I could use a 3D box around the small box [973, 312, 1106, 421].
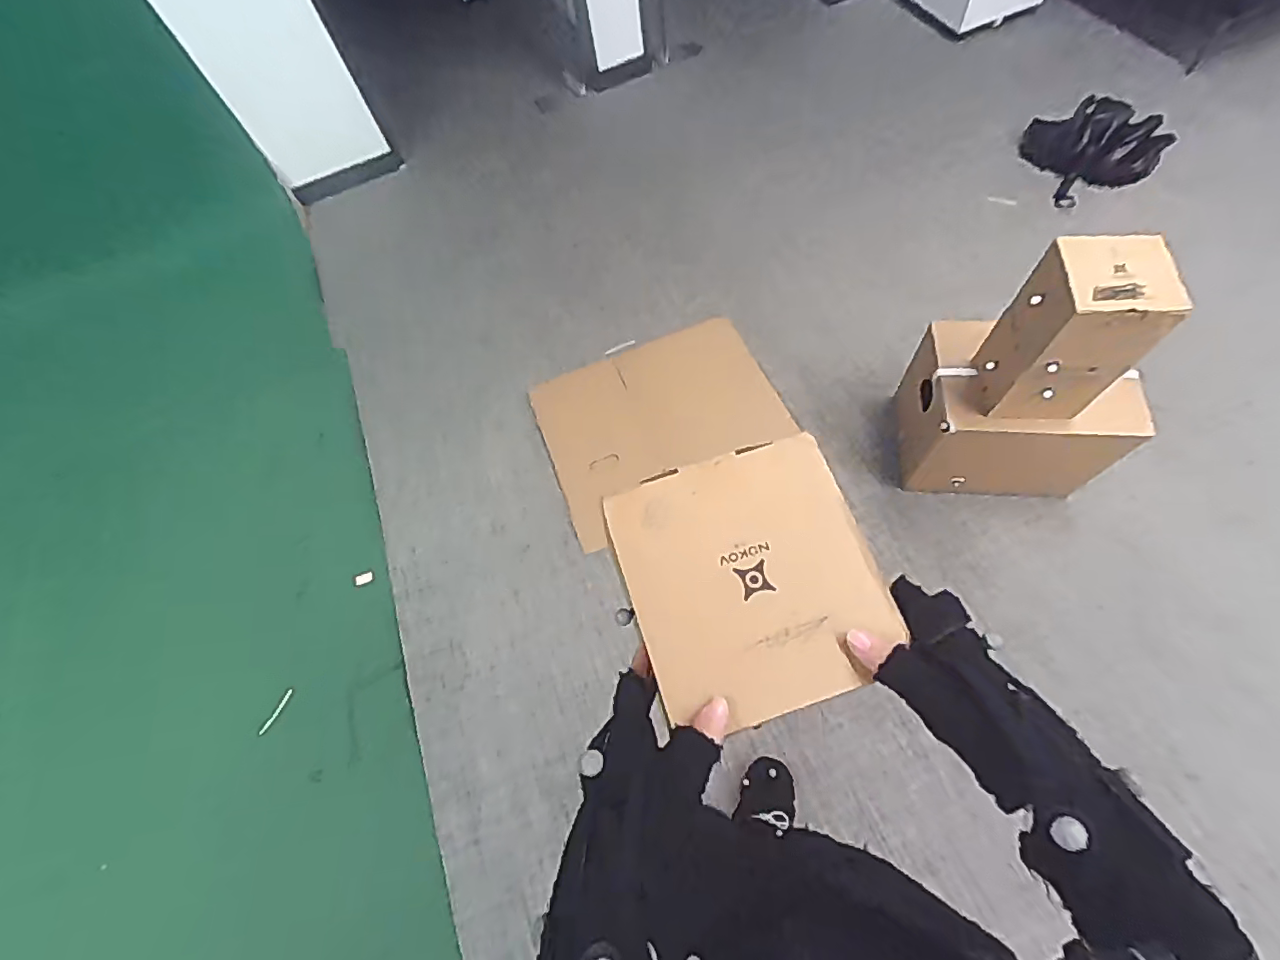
[{"bbox_3d":[0.826,-0.236,1.127,0.179,0.176,0.168,-1,62,7],"label":"small box"}]

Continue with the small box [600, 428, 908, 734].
[{"bbox_3d":[0.072,0.088,0.446,0.168,0.176,0.179,-18,71,-6],"label":"small box"}]

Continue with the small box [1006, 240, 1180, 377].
[{"bbox_3d":[0.798,-0.303,0.976,0.168,0.176,0.179,3,63,10],"label":"small box"}]
